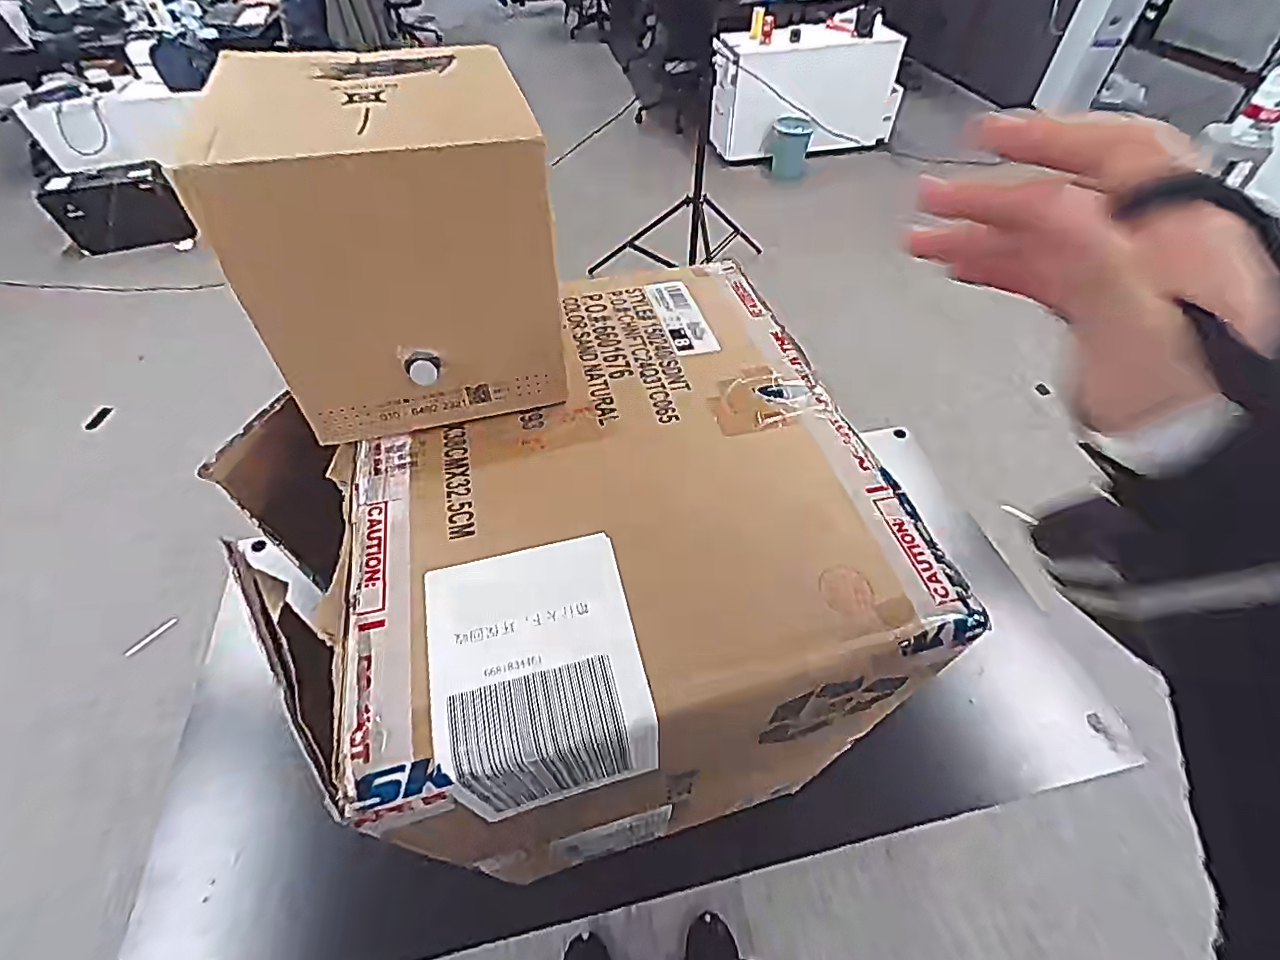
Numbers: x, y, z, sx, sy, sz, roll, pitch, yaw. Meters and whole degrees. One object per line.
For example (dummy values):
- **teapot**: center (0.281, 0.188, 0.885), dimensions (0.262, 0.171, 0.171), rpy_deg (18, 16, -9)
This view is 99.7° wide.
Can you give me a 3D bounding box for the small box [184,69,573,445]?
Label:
- **small box**: center (-0.145, -0.150, 0.361), dimensions (0.168, 0.176, 0.179), rpy_deg (-13, 50, -12)
